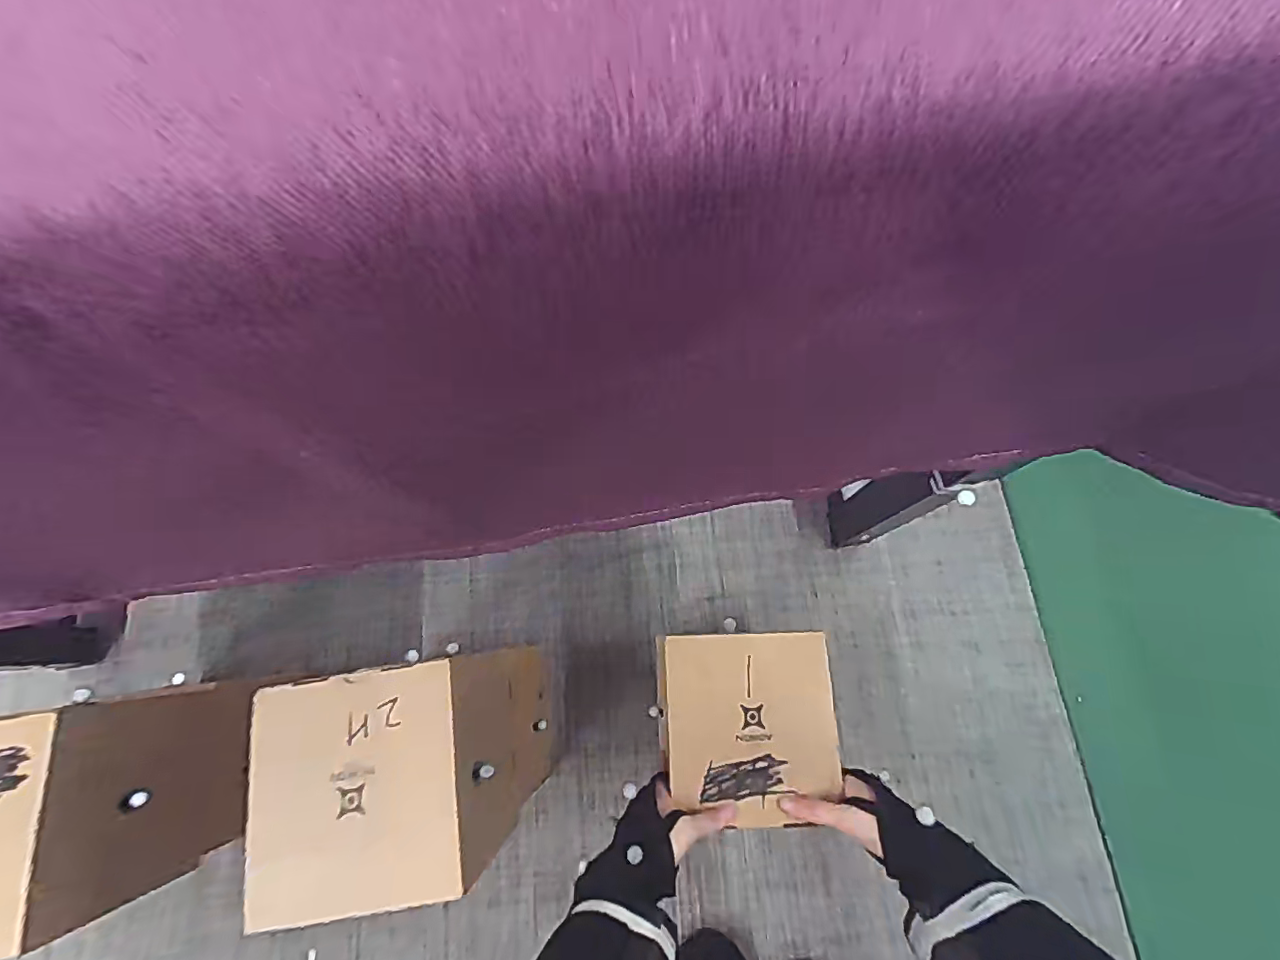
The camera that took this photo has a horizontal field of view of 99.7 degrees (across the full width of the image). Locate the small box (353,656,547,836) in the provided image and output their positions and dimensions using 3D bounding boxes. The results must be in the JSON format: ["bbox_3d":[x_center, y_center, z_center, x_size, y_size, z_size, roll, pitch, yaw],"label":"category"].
[{"bbox_3d":[-0.224,0.315,0.672,0.179,0.176,0.168,-8,73,0],"label":"small box"}]
